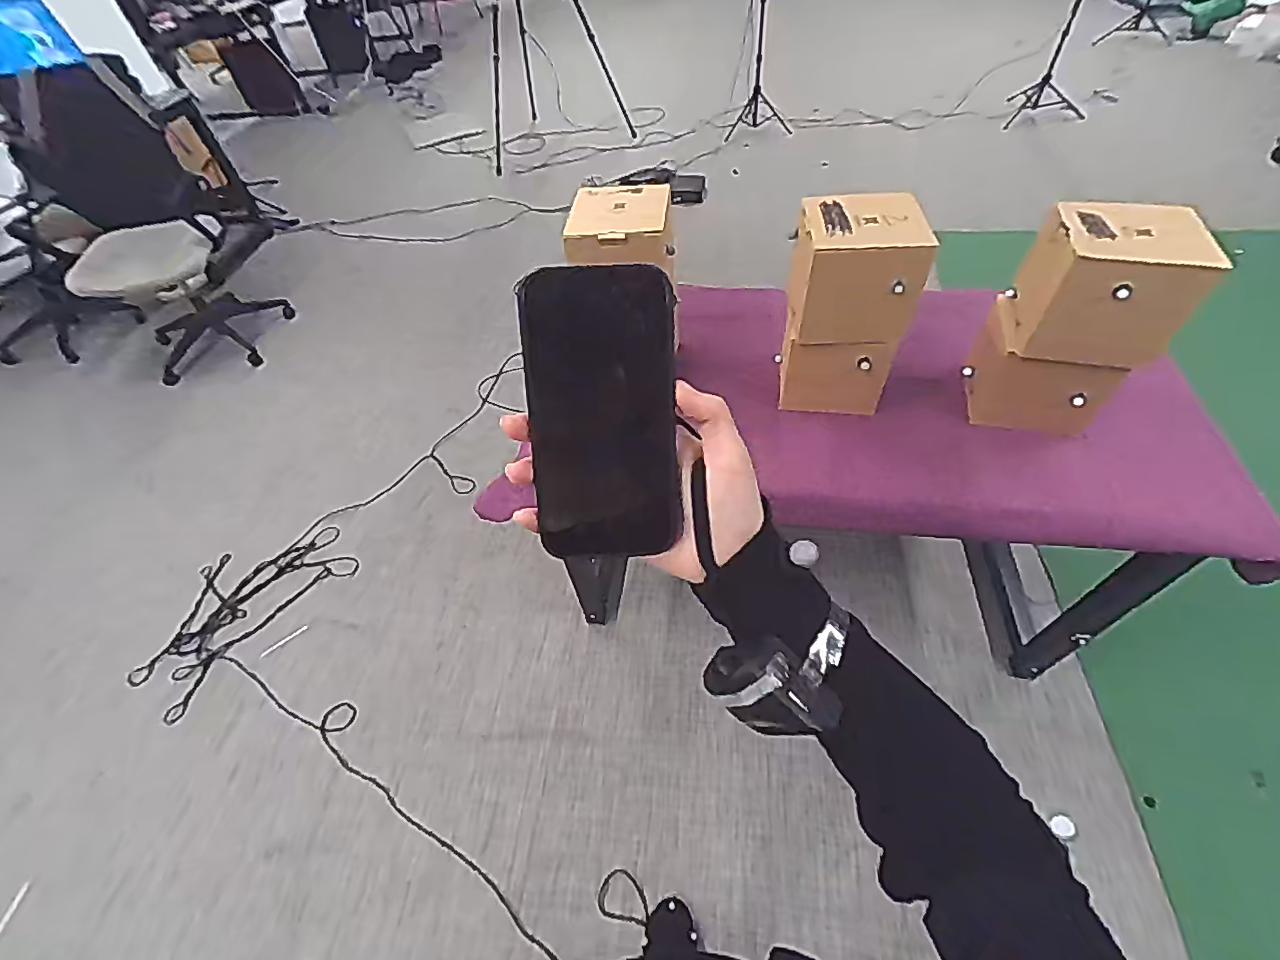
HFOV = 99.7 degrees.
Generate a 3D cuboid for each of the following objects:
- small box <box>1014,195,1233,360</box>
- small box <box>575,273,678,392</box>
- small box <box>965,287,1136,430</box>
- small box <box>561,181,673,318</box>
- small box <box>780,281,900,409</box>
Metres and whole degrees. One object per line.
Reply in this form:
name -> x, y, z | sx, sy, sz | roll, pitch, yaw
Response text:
small box -> 0.683, -0.297, 0.798 | 0.179, 0.176, 0.168 | 10, 53, 14
small box -> -0.017, -0.296, 1.090 | 0.168, 0.176, 0.179 | 5, 52, 11
small box -> 0.692, -0.207, 0.936 | 0.179, 0.176, 0.168 | 10, 53, 15
small box -> -0.030, -0.406, 0.968 | 0.168, 0.176, 0.179 | 2, 52, 7
small box -> 0.361, -0.248, 1.005 | 0.179, 0.176, 0.168 | 5, 52, 11
